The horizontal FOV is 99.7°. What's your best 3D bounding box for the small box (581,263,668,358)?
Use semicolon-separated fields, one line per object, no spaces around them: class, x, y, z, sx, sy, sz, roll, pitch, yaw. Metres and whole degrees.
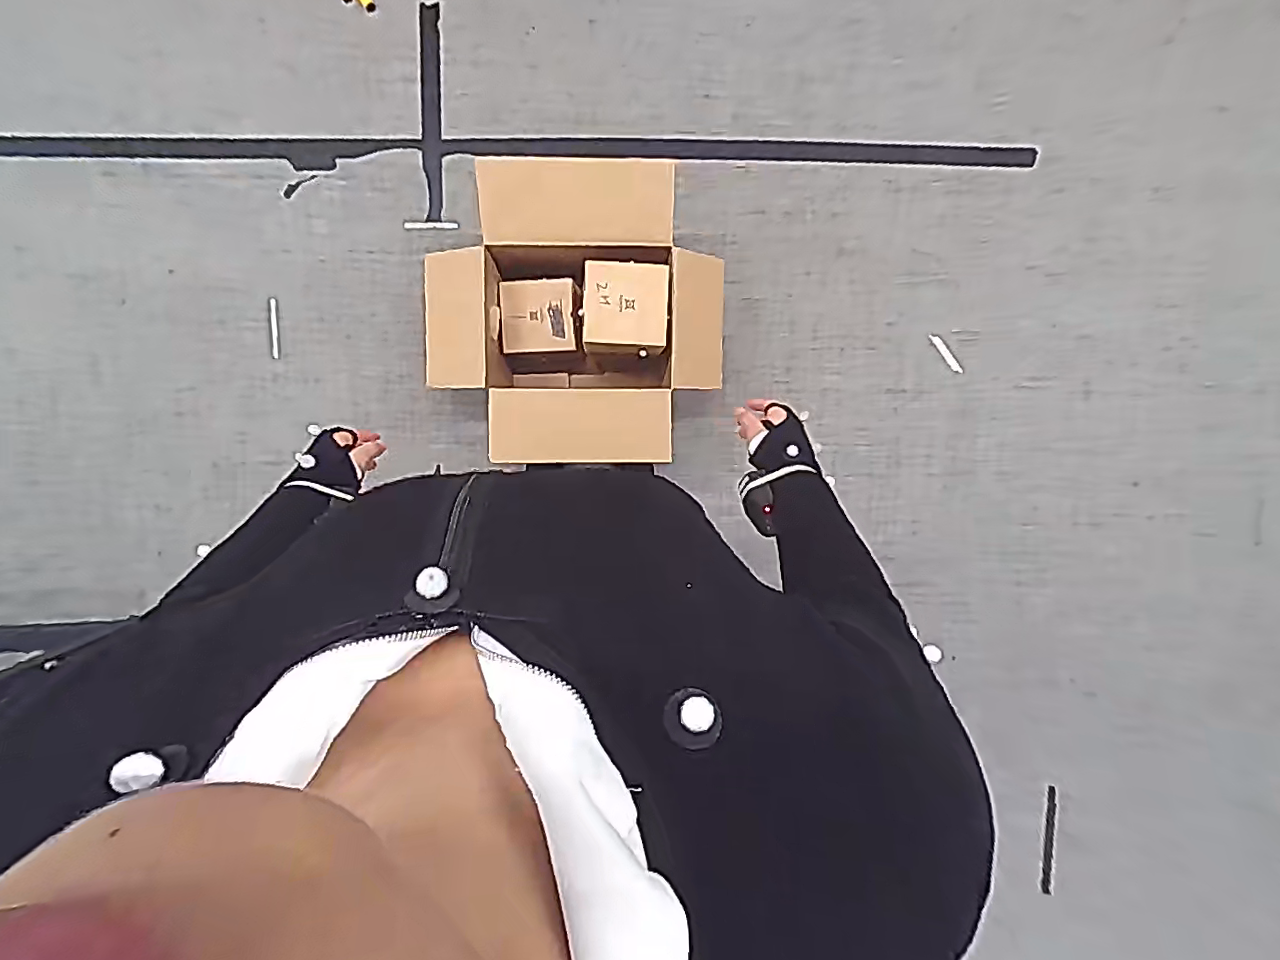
small box;-0.038;-0.366;1.194;0.179;0.176;0.168;2;94;-3
